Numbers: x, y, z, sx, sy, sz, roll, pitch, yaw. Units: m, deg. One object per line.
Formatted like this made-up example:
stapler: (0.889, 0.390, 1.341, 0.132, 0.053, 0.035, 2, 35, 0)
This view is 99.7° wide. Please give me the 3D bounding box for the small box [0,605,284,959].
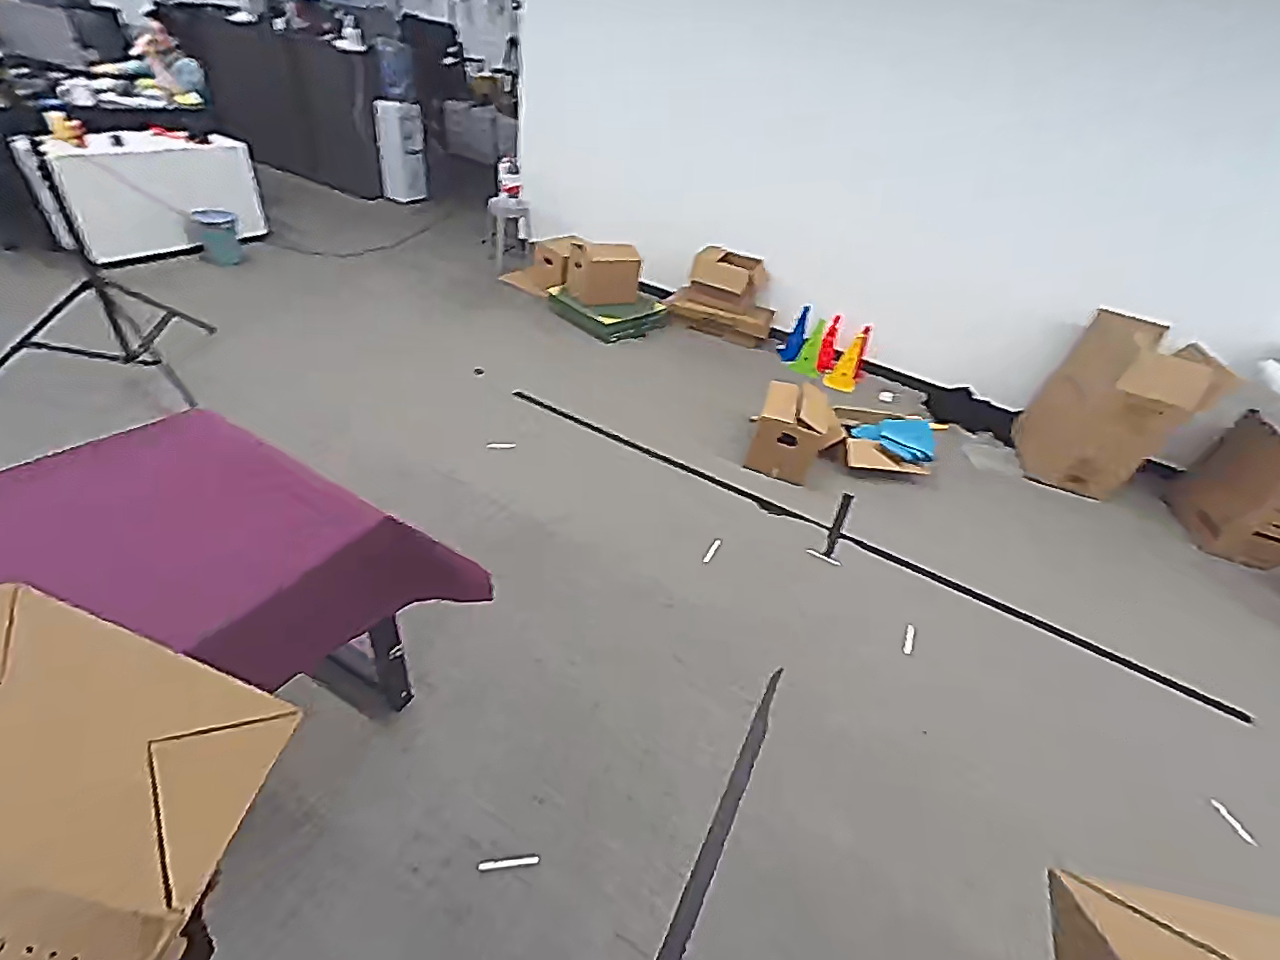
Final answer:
small box: (-0.291, 0.166, 0.225, 0.168, 0.179, 0.176, 33, 80, -17)
